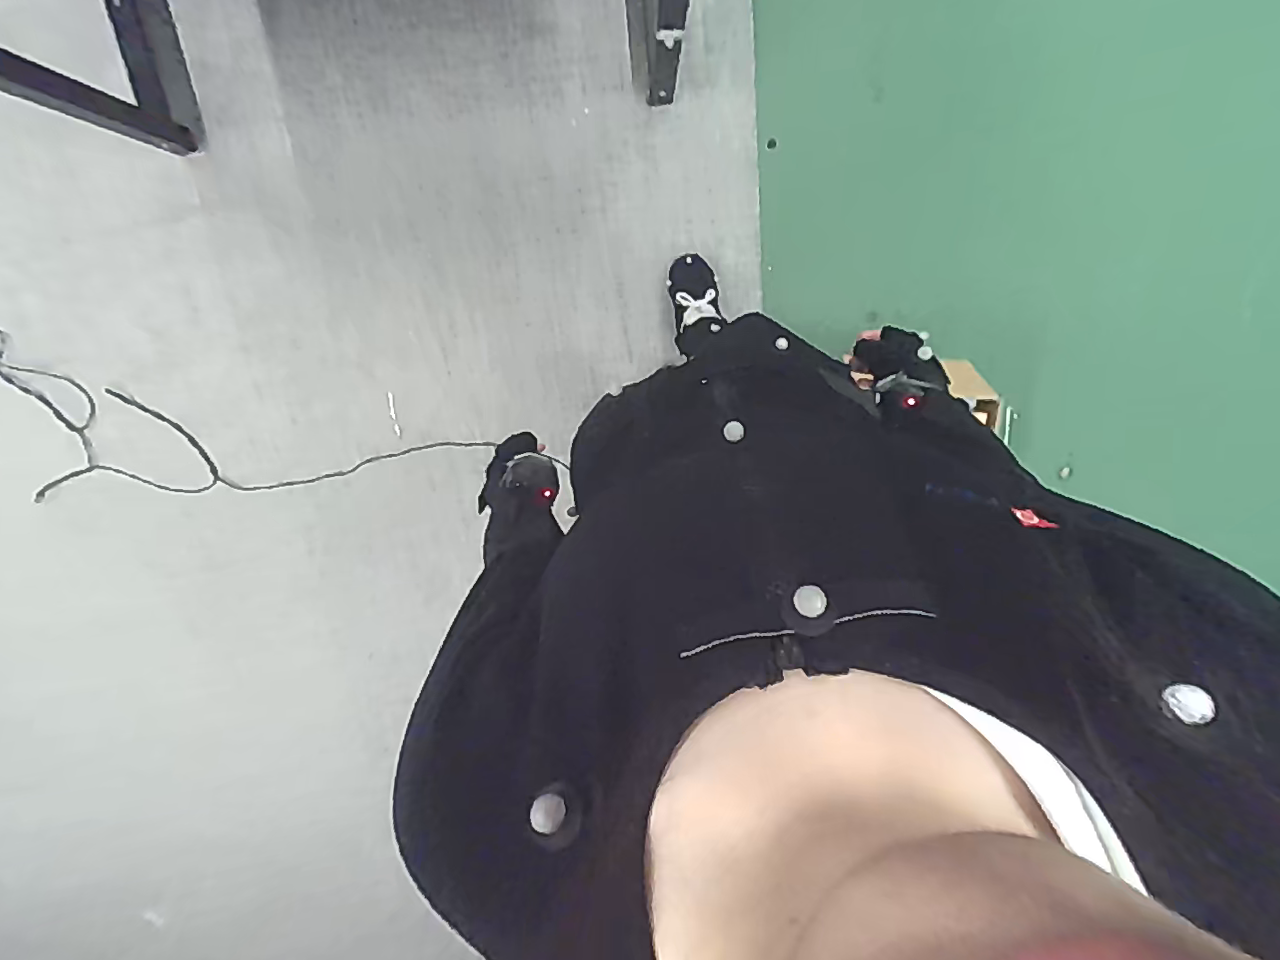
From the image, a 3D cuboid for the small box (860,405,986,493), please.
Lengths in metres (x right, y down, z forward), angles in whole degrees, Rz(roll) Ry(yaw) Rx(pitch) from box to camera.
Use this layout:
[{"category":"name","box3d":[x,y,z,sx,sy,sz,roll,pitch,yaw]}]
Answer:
[{"category":"small box","box3d":[0.621,-0.076,1.208,0.179,0.176,0.168,3,103,-2]}]
